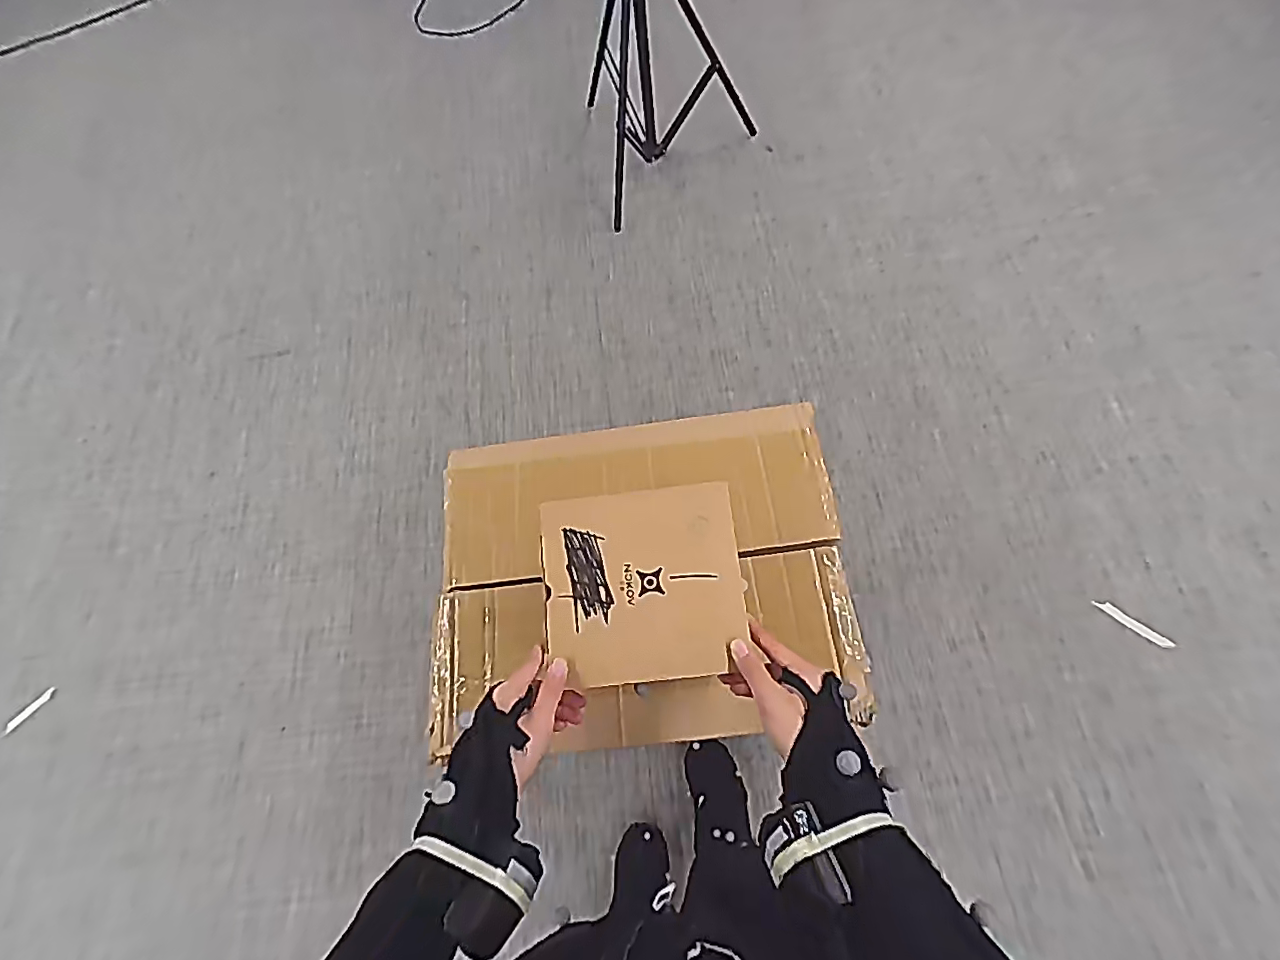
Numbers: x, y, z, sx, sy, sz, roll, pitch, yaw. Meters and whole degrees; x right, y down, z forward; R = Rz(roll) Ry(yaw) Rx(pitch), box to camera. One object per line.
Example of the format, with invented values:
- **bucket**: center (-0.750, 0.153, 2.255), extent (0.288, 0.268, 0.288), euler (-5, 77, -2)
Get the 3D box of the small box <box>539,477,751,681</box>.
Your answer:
- **small box**: center (0.006, 0.105, 0.548), extent (0.179, 0.176, 0.168), euler (-7, 75, 2)
